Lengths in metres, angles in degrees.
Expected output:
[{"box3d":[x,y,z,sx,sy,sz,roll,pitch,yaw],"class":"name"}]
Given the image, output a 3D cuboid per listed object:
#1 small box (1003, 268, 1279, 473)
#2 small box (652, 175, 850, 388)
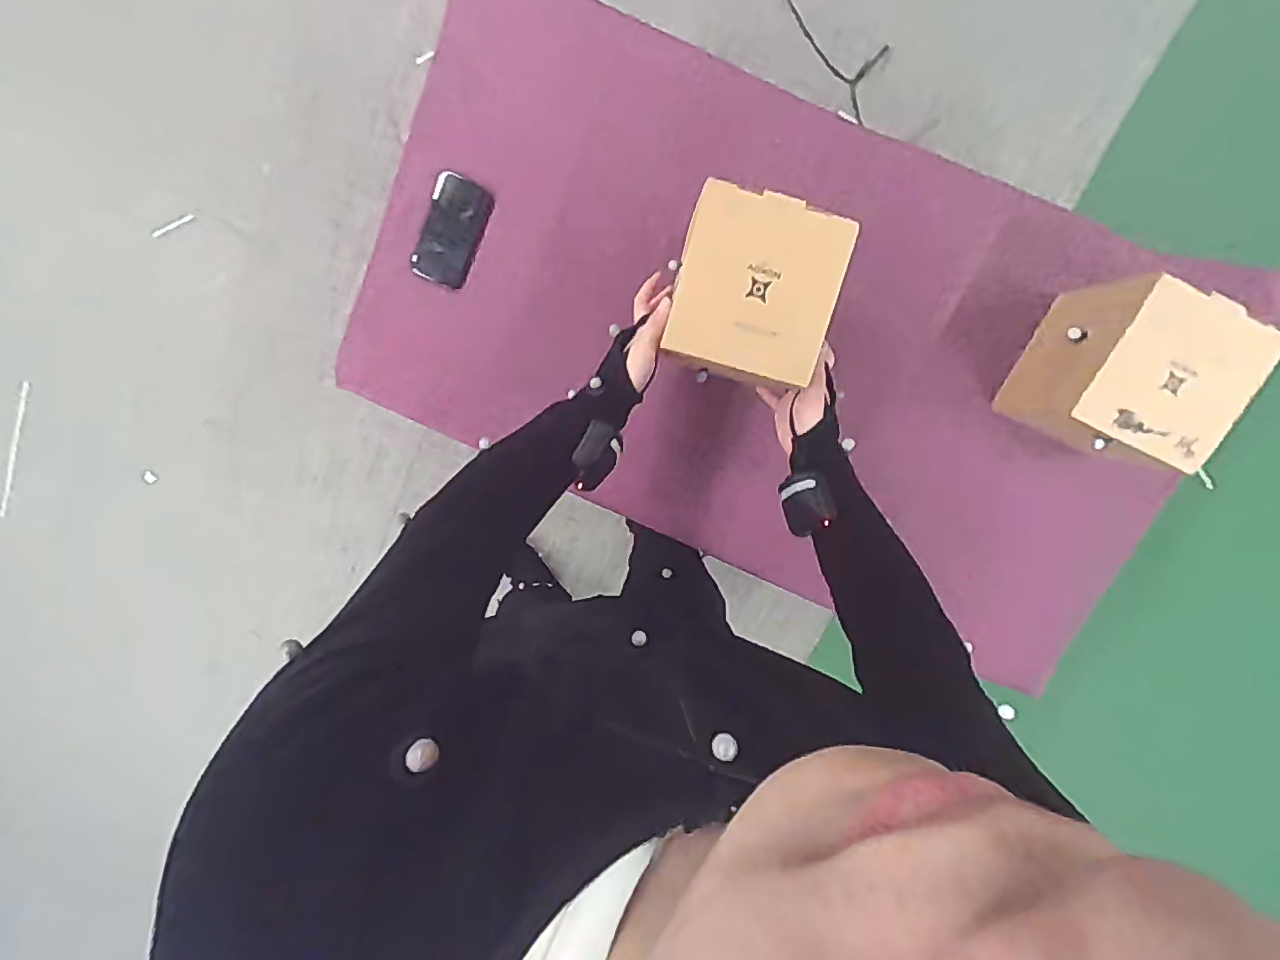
[{"box3d":[0.607,-0.132,0.676,0.168,0.176,0.179,26,102,0],"class":"small box"},{"box3d":[0.111,-0.213,0.631,0.168,0.176,0.179,15,99,-2],"class":"small box"}]
